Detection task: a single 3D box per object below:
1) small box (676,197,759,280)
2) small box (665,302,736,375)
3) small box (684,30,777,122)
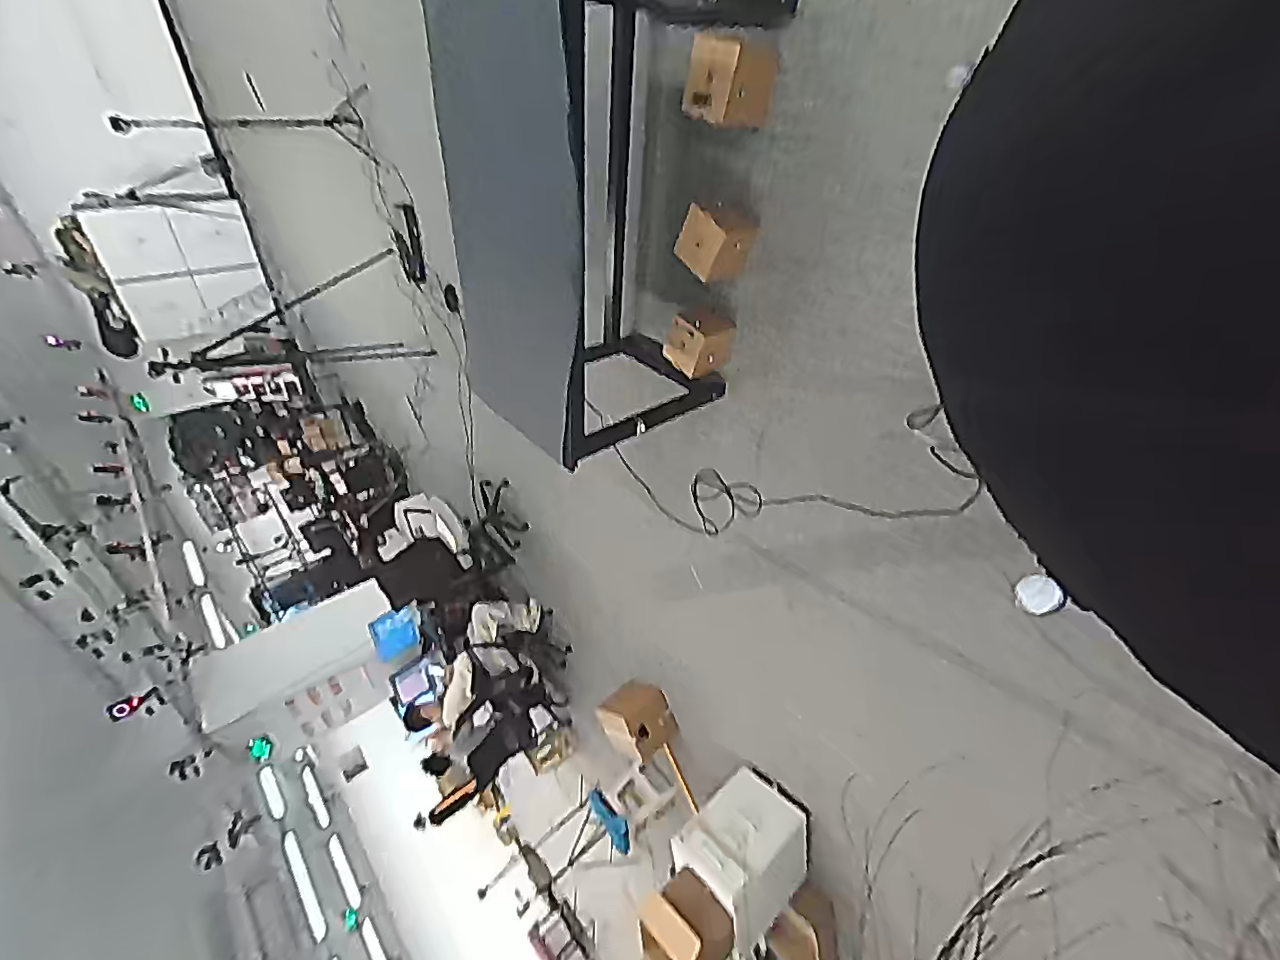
[{"bbox_3d":[0.250,-0.774,1.721,0.168,0.176,0.179,52,147,18],"label":"small box"},{"bbox_3d":[0.219,-0.512,1.947,0.168,0.176,0.179,46,144,24],"label":"small box"},{"bbox_3d":[0.250,-1.107,1.487,0.168,0.176,0.179,41,140,29],"label":"small box"}]
